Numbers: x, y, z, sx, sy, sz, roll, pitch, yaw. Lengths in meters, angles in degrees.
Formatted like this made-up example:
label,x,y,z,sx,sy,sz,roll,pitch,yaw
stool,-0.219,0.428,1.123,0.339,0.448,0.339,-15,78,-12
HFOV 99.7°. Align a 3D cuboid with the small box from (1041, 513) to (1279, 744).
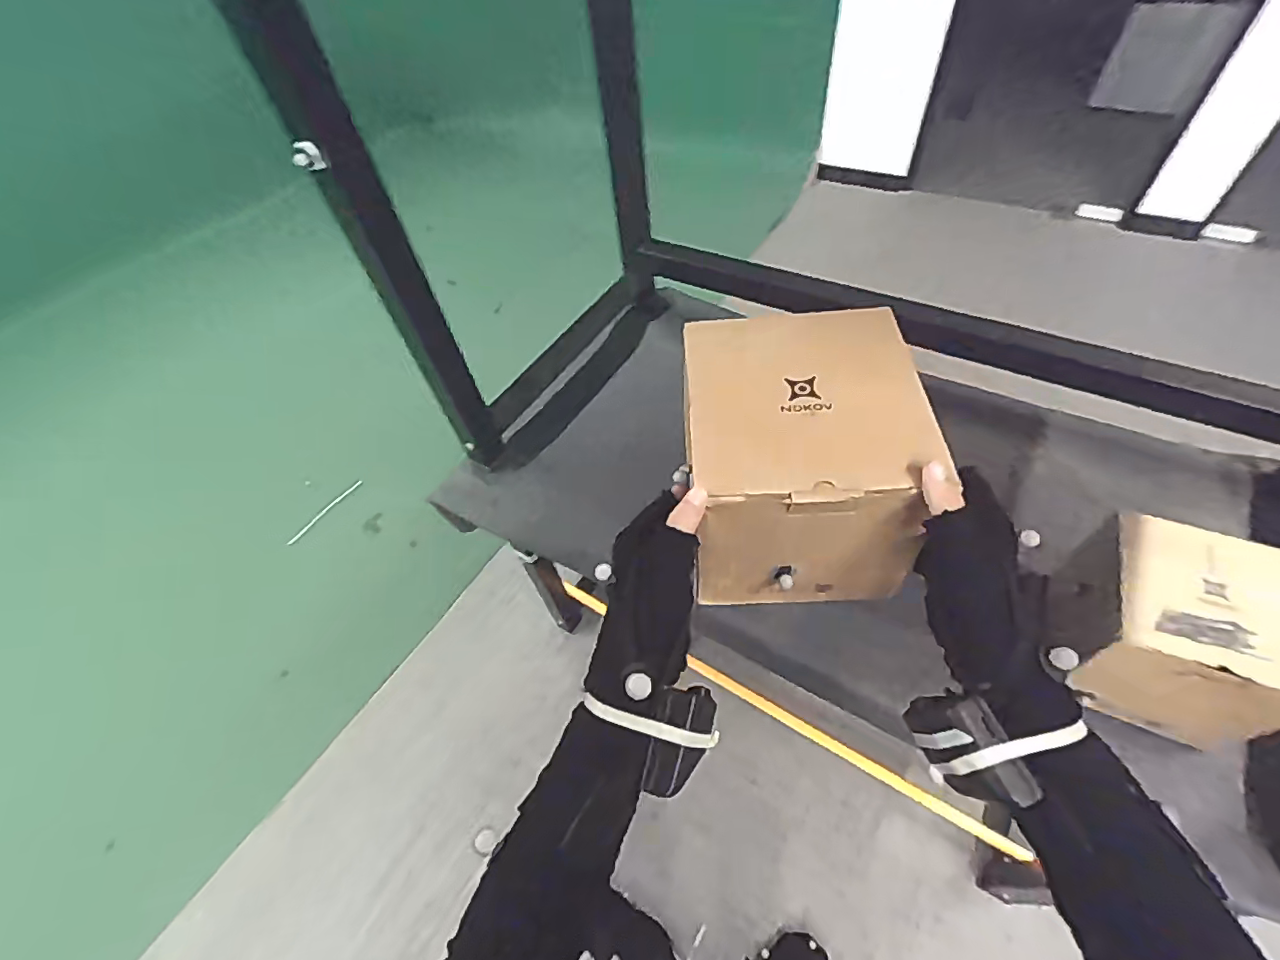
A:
label,x,y,z,sx,sy,sz,roll,pitch,yaw
small box,0.597,0.174,0.626,0.168,0.176,0.179,19,56,21
